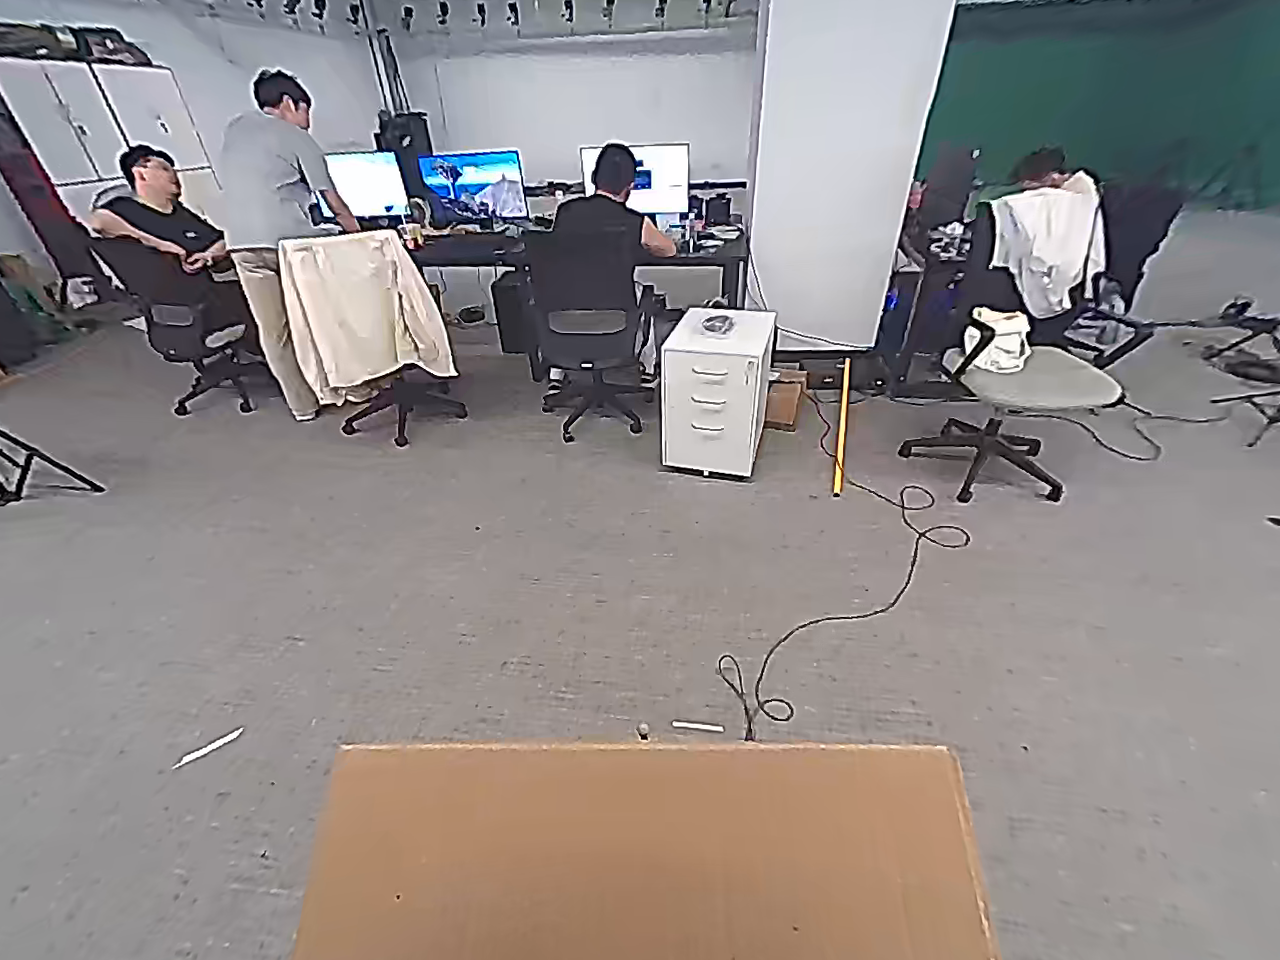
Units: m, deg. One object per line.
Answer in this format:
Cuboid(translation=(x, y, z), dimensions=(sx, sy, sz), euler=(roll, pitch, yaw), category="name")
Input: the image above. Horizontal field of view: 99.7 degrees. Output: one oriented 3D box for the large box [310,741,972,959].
Cuboid(translation=(0.004, 0.391, 0.439), dimensions=(0.408, 0.320, 0.320), euler=(-1, 65, 1), category="large box")
